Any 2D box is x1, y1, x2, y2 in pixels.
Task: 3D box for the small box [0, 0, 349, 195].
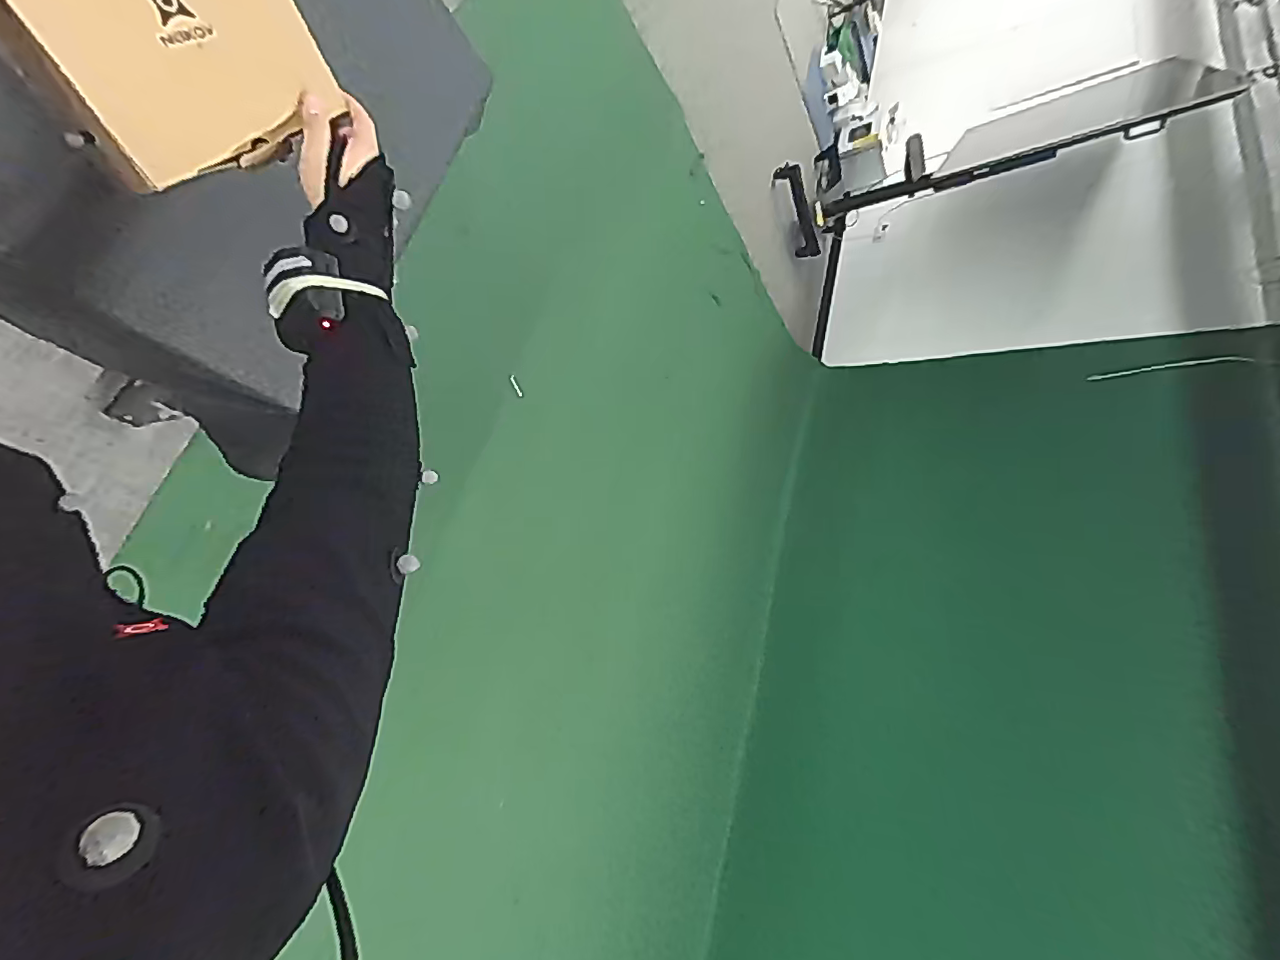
[{"bbox_3d":[-0.379,-0.346,0.423,0.168,0.176,0.179,-46,137,-26],"label":"small box"}]
